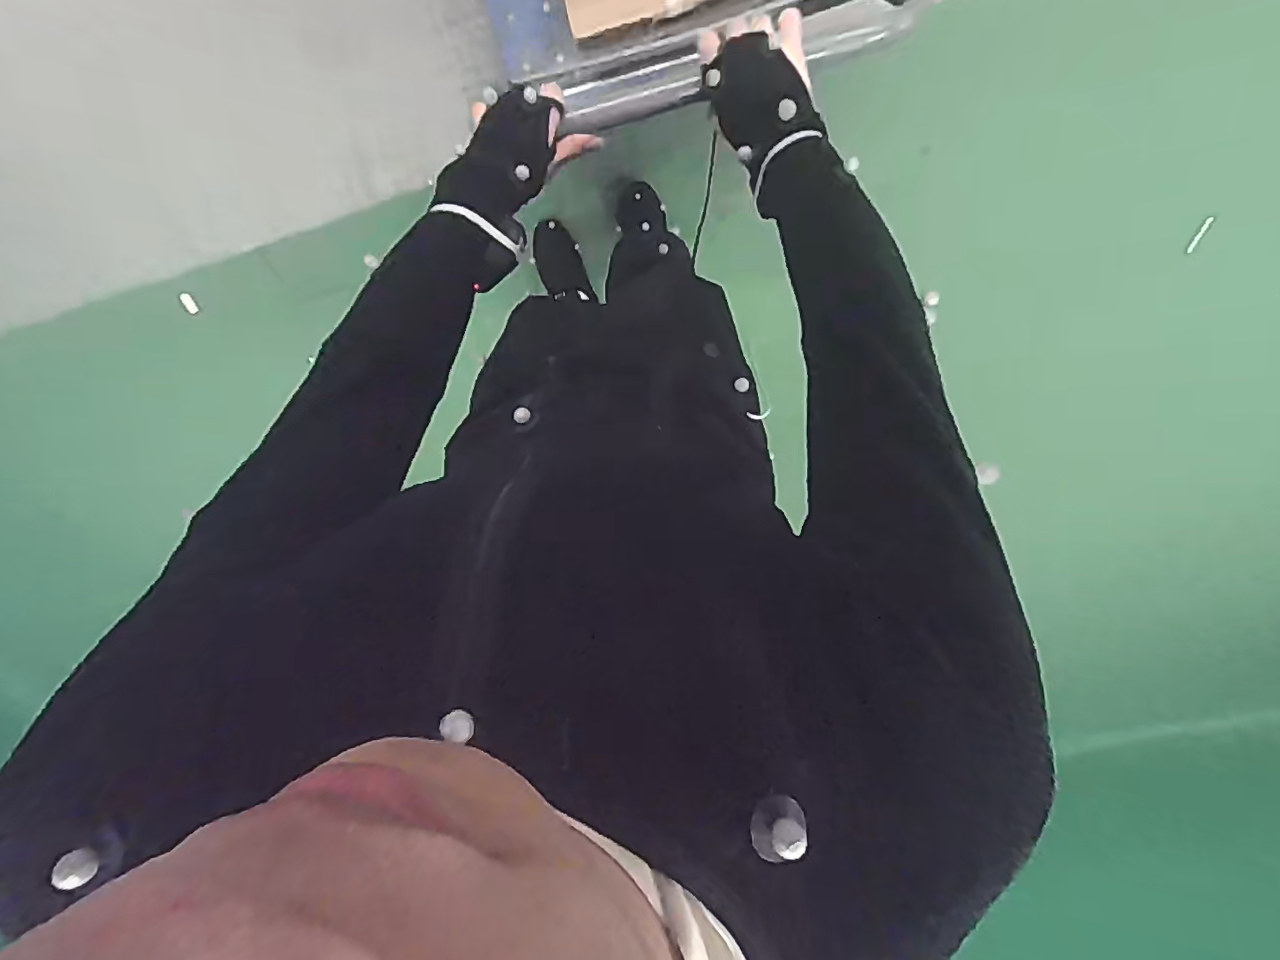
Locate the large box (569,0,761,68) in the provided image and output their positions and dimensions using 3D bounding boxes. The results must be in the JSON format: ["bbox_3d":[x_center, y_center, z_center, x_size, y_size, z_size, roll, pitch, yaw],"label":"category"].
[{"bbox_3d":[0.010,-0.927,0.818,0.320,0.320,0.408,-13,121,6],"label":"large box"}]
